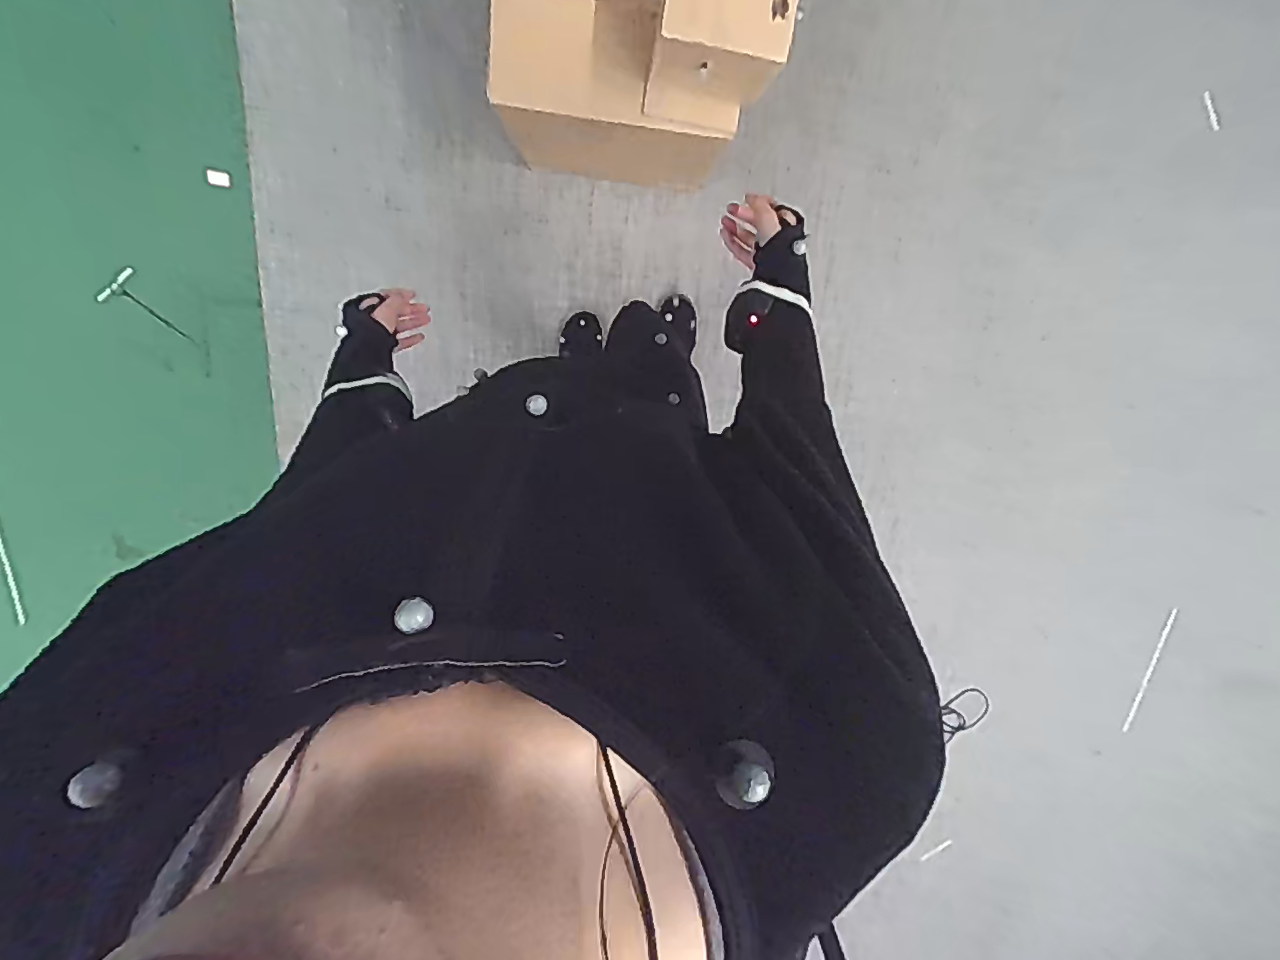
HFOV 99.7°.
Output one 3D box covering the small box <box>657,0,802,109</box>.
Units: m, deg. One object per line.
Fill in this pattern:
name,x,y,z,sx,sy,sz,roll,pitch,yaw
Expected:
small box,0.123,-0.658,0.768,0.179,0.176,0.168,8,108,-5
